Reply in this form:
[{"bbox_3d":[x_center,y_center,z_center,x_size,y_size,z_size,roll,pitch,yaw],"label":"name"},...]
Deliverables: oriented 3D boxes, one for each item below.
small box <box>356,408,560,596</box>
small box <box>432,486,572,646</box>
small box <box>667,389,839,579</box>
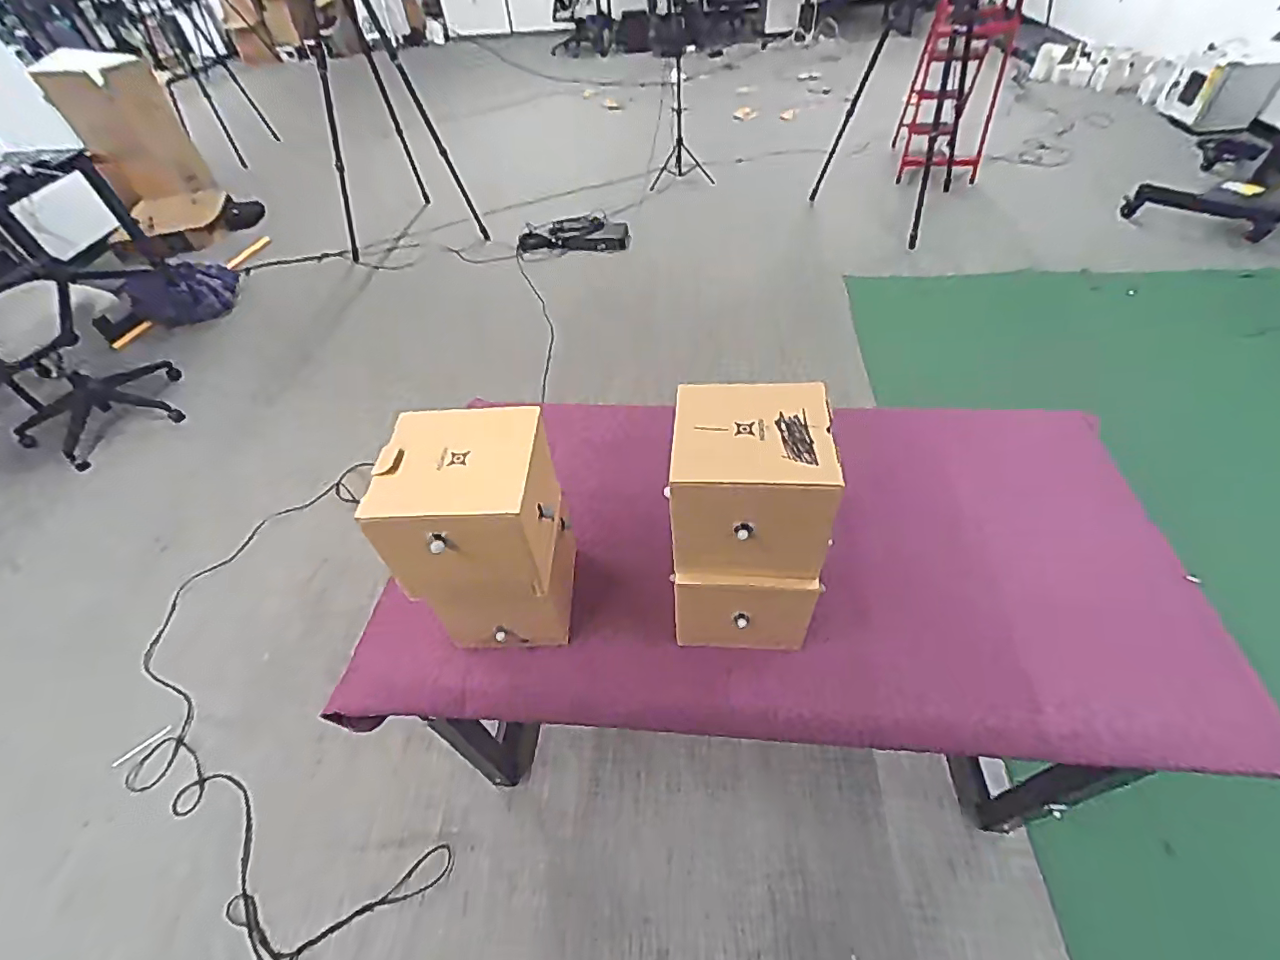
[{"bbox_3d":[-0.201,0.030,0.662,0.179,0.176,0.168,-2,49,3],"label":"small box"},{"bbox_3d":[-0.197,0.126,0.796,0.168,0.176,0.179,-1,48,2],"label":"small box"},{"bbox_3d":[0.129,0.007,0.660,0.179,0.176,0.168,2,47,8],"label":"small box"}]
